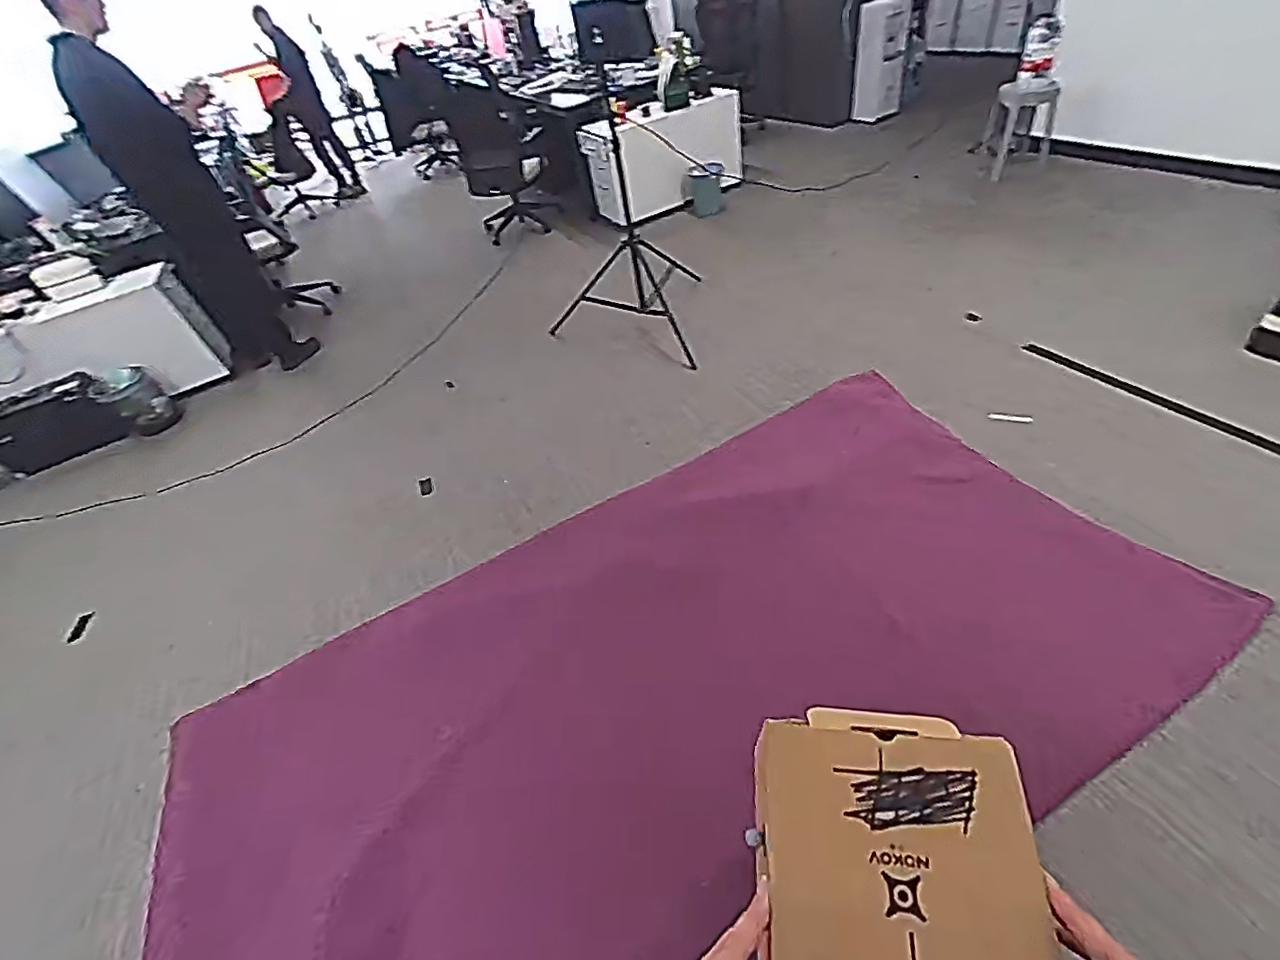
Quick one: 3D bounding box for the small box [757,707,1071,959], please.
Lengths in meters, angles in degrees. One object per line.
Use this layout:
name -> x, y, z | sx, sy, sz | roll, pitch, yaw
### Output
small box -> 0.177, 0.284, 0.405 | 0.168, 0.176, 0.179 | 1, 58, 9
